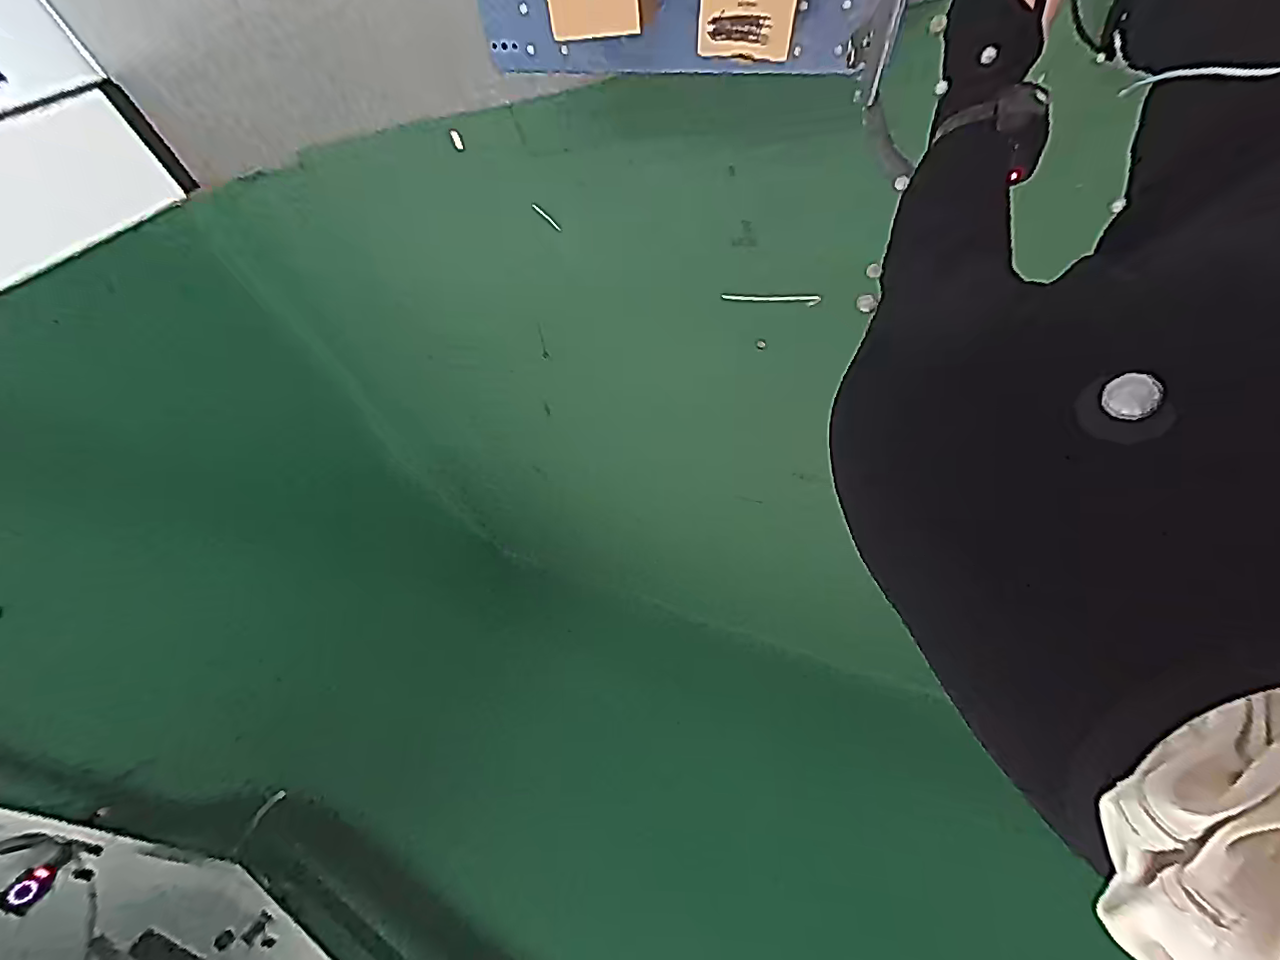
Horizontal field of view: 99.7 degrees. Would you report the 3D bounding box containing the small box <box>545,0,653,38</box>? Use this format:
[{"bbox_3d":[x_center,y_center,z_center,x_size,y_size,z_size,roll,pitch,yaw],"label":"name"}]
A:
[{"bbox_3d":[-0.074,-0.944,0.993,0.179,0.176,0.168,7,142,14],"label":"small box"}]
